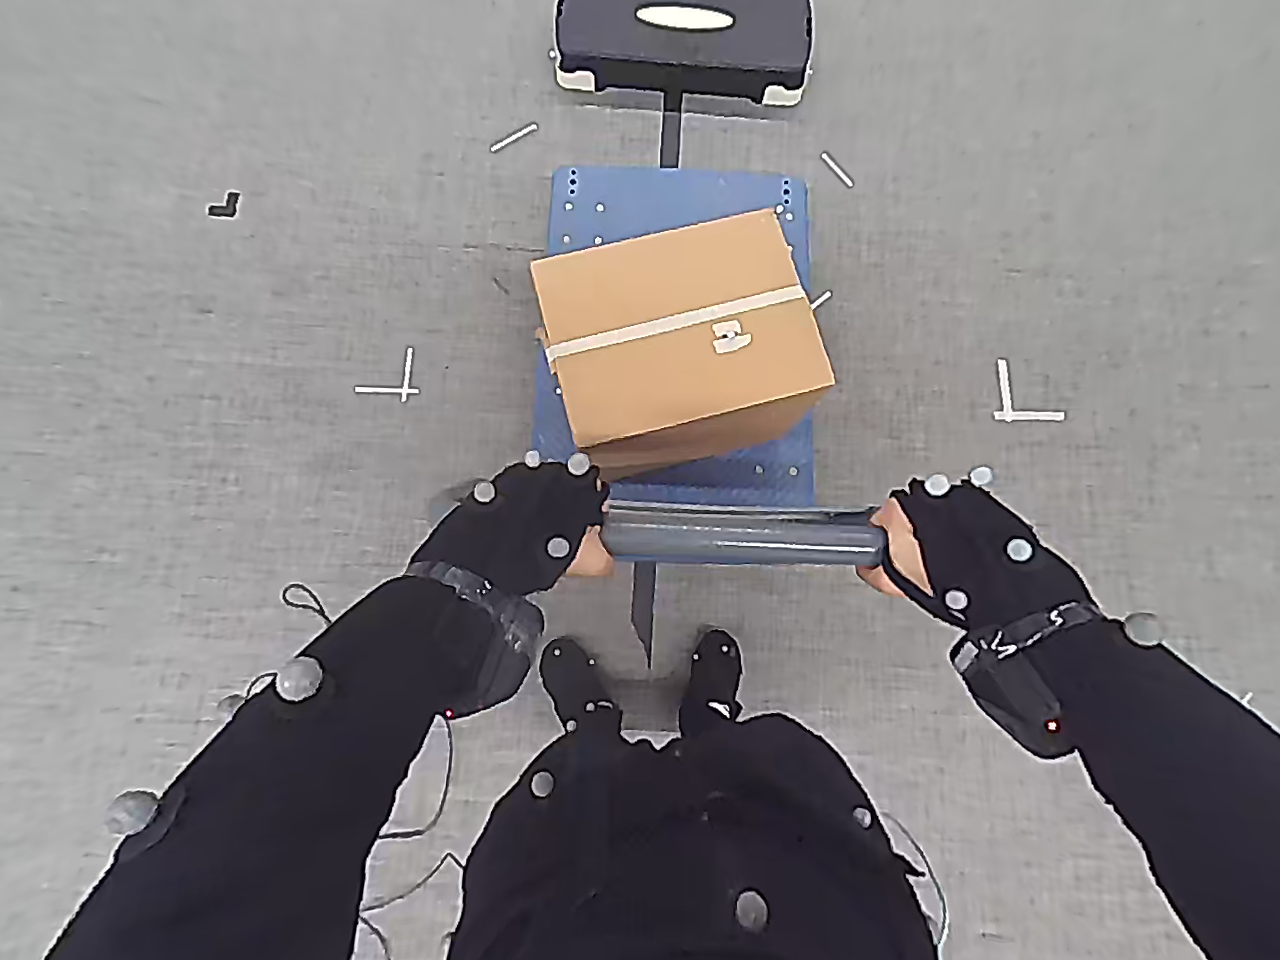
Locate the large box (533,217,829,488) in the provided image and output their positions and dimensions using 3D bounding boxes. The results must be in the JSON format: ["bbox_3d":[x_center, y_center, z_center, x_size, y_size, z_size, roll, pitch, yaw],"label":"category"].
[{"bbox_3d":[0.054,-0.205,0.982,0.408,0.320,0.320,-15,80,-5],"label":"large box"}]
